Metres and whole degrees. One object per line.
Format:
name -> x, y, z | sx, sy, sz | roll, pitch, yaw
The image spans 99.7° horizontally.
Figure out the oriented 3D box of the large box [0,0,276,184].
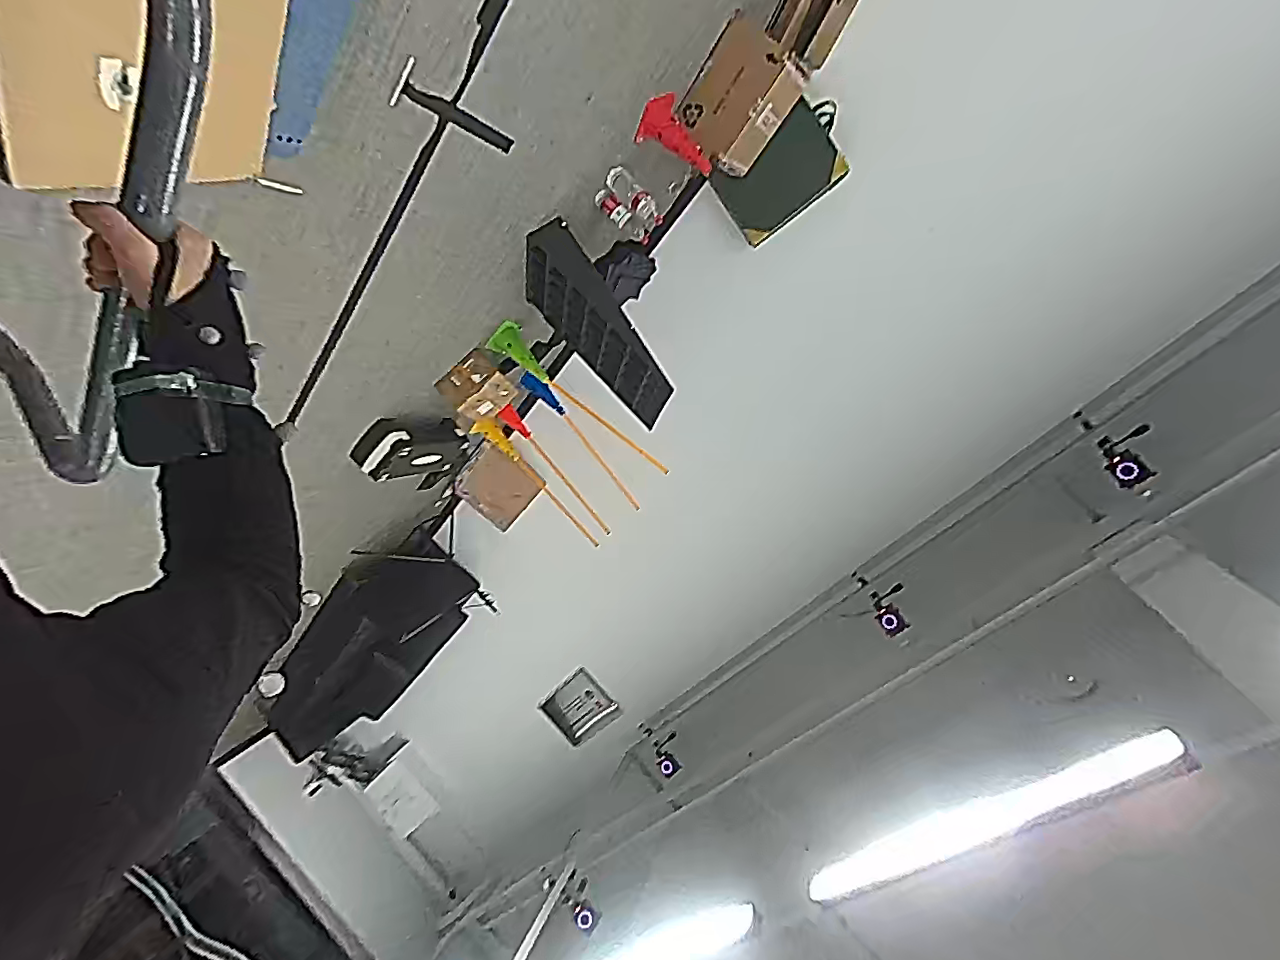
large box -> -0.670, -0.624, 0.605 | 0.408, 0.320, 0.320 | -44, -175, 37
